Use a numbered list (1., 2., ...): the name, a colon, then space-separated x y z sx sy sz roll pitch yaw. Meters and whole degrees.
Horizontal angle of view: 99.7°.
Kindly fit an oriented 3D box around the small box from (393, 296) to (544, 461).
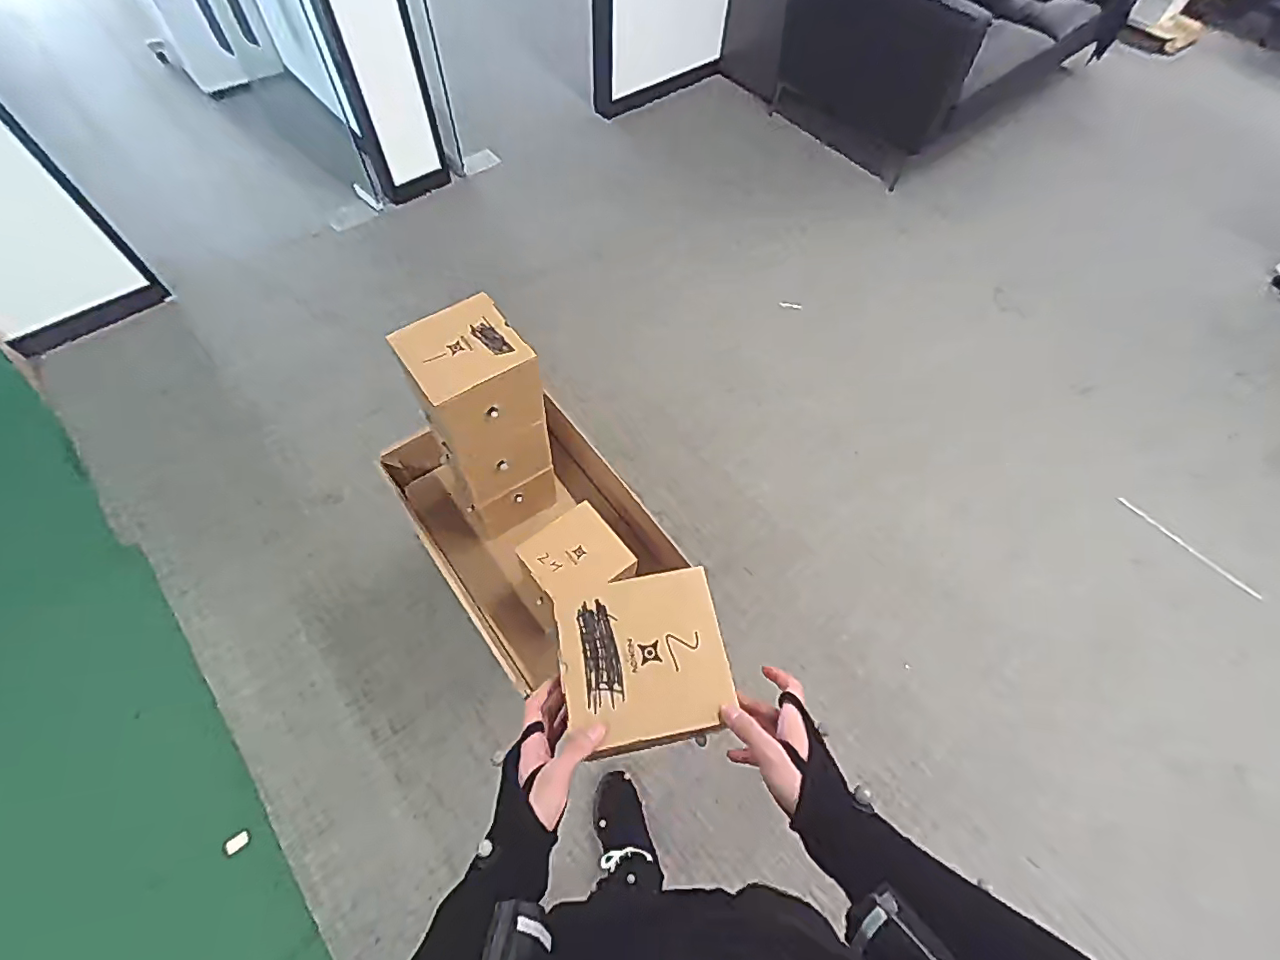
1. small box: -0.274 -0.165 0.902 0.179 0.176 0.168 -32 69 -20

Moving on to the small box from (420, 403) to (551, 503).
1. small box: -0.287 -0.084 1.045 0.179 0.176 0.168 -31 69 -19

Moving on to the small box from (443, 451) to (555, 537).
1. small box: -0.300 -0.001 1.186 0.179 0.176 0.168 -30 68 -20

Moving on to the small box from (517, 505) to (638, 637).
1. small box: -0.125 0.186 1.090 0.179 0.176 0.168 -34 67 -21
